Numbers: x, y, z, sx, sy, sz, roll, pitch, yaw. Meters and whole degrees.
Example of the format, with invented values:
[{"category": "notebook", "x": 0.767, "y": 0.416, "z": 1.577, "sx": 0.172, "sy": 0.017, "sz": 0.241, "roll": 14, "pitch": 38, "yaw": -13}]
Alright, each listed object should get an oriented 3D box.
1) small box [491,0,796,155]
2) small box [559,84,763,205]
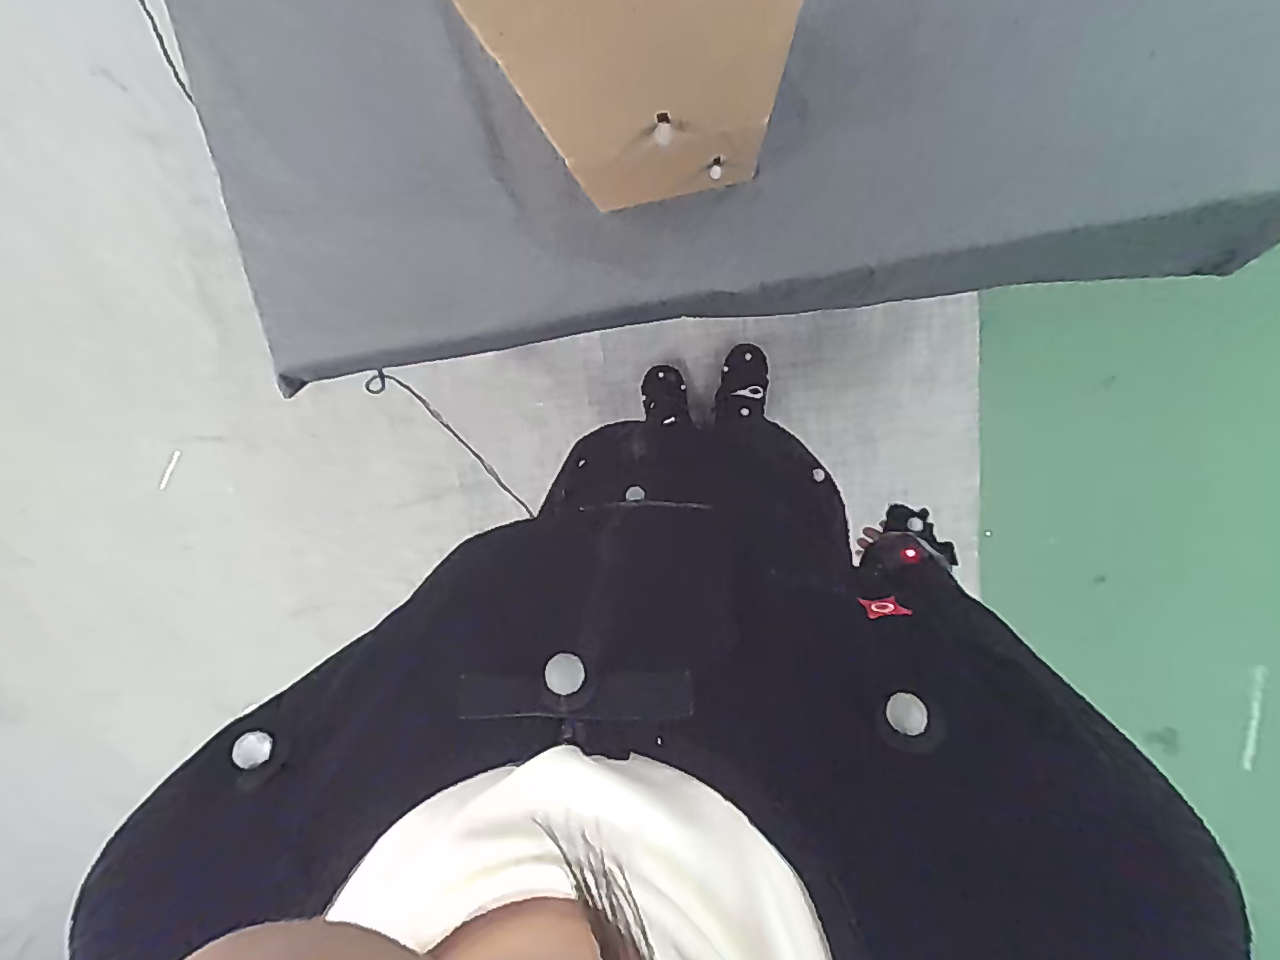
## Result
[{"category": "small box", "x": -0.006, "y": -0.347, "z": 0.358, "sx": 0.179, "sy": 0.176, "sz": 0.168, "roll": -10, "pitch": 103, "yaw": 9}, {"category": "small box", "x": 0.012, "y": -0.384, "z": 0.514, "sx": 0.179, "sy": 0.176, "sz": 0.168, "roll": -8, "pitch": 102, "yaw": 10}]
